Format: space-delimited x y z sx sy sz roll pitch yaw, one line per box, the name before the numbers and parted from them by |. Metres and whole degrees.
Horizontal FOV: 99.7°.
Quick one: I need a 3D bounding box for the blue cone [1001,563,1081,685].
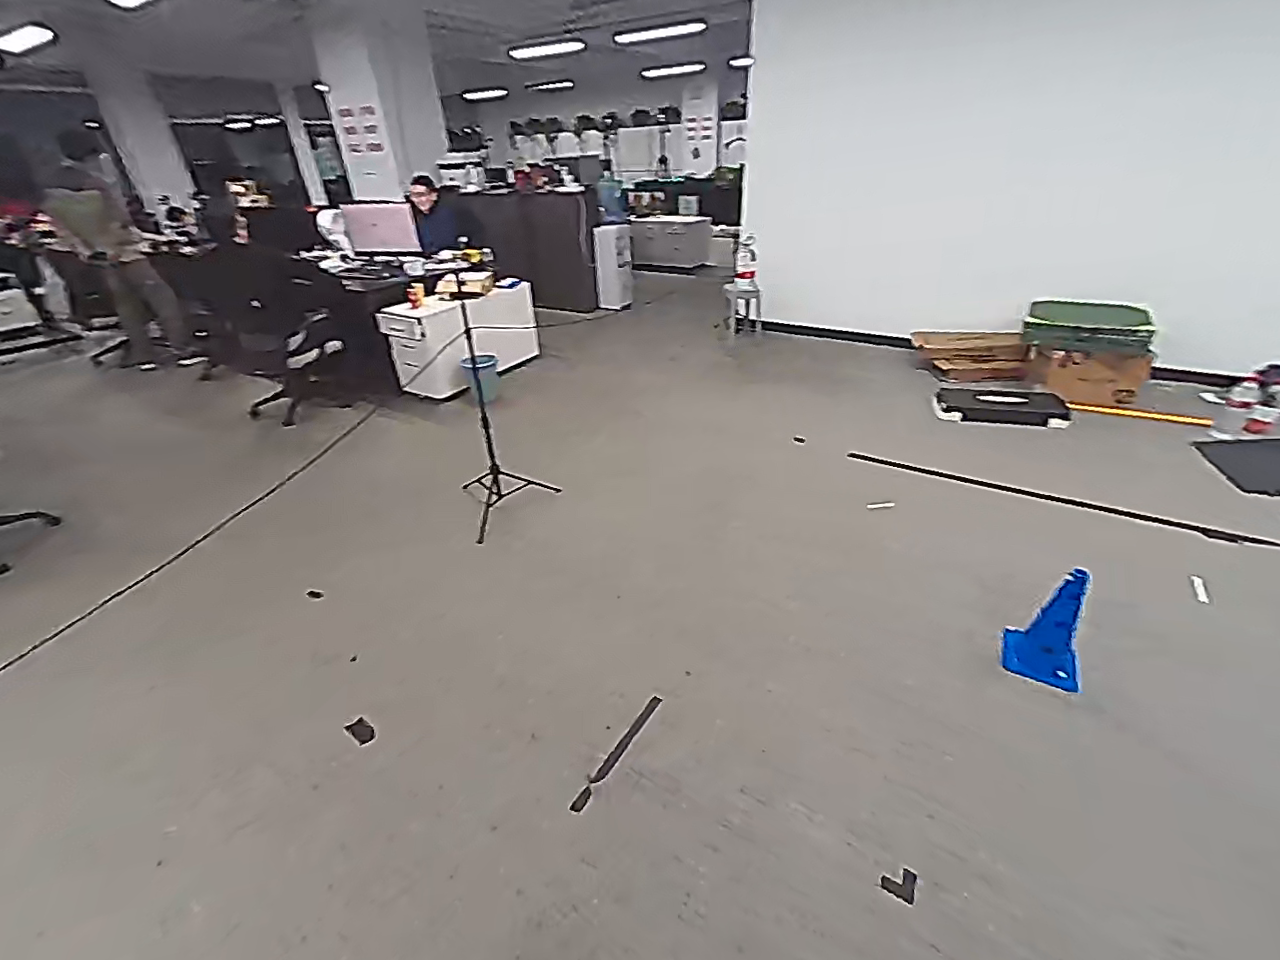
blue cone | 1.240 0.408 1.611 0.192 0.380 0.193 16 36 30
